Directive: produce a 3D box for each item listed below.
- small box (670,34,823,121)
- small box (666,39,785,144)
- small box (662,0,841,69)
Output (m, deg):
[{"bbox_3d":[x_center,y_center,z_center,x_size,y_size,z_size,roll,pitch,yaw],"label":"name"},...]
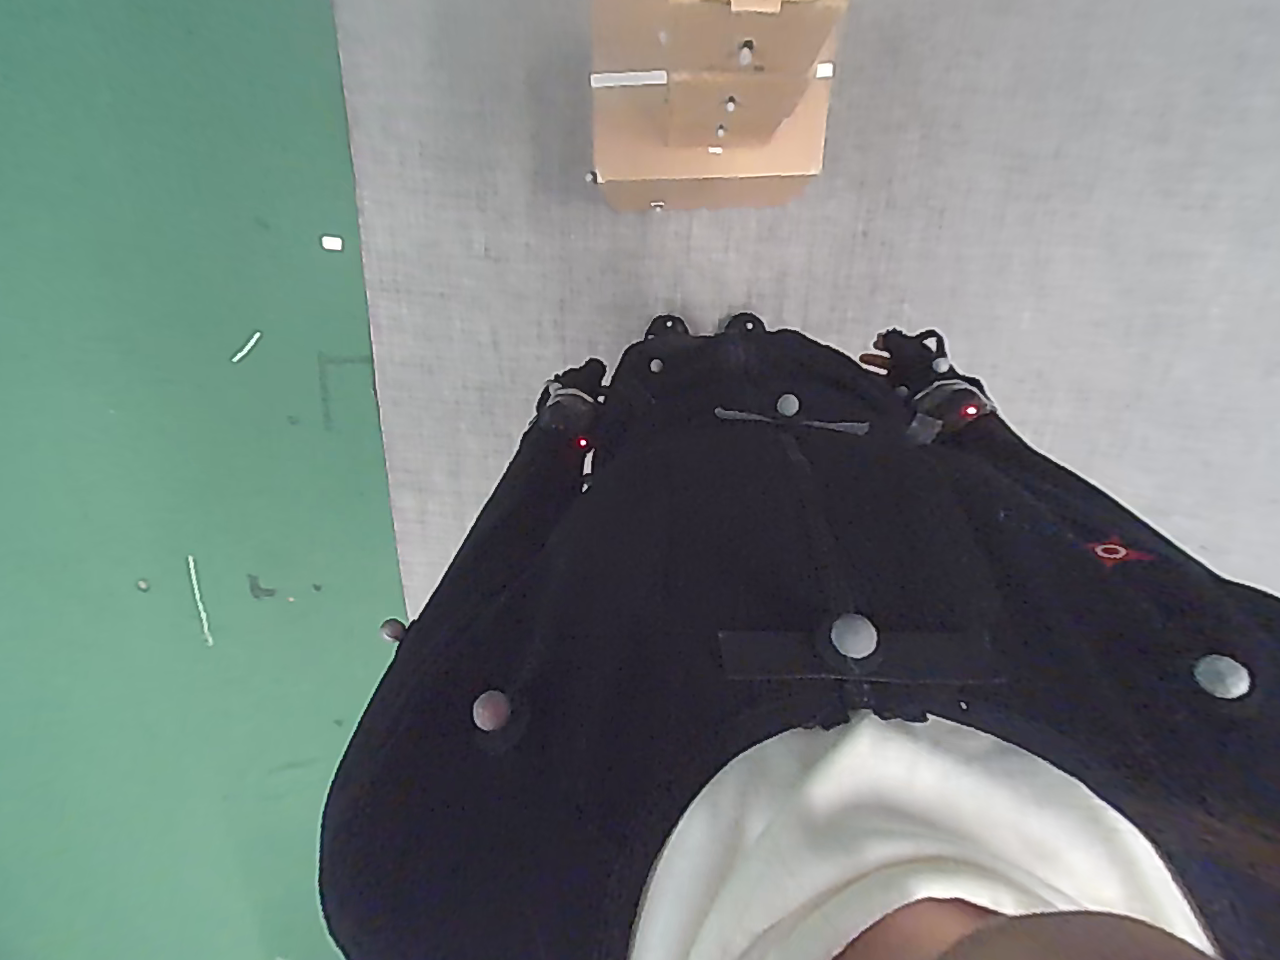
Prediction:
[{"bbox_3d":[0.128,-0.579,0.689,0.179,0.176,0.168,-1,109,4],"label":"small box"},{"bbox_3d":[0.133,-0.638,0.843,0.179,0.176,0.168,2,110,3],"label":"small box"},{"bbox_3d":[0.114,-0.535,0.532,0.168,0.176,0.179,5,110,4],"label":"small box"}]
